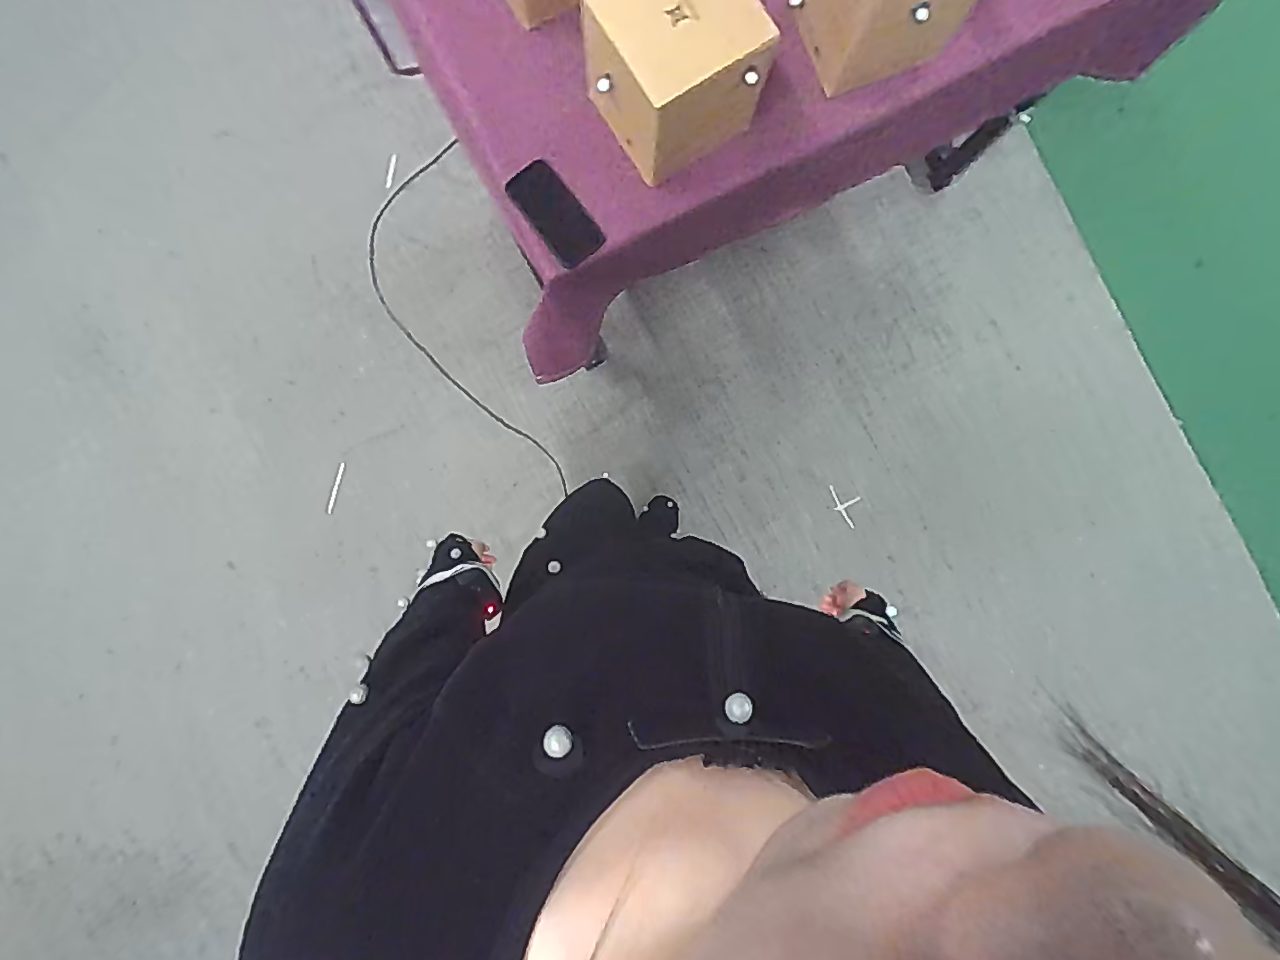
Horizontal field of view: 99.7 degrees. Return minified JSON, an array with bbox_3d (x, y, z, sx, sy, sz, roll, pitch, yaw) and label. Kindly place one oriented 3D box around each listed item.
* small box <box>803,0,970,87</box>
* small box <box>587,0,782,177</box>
[{"bbox_3d":[0.335,-0.673,0.718,0.179,0.176,0.168,-21,91,-3],"label":"small box"},{"bbox_3d":[0.050,-0.543,0.706,0.179,0.176,0.168,-33,91,-3],"label":"small box"}]
